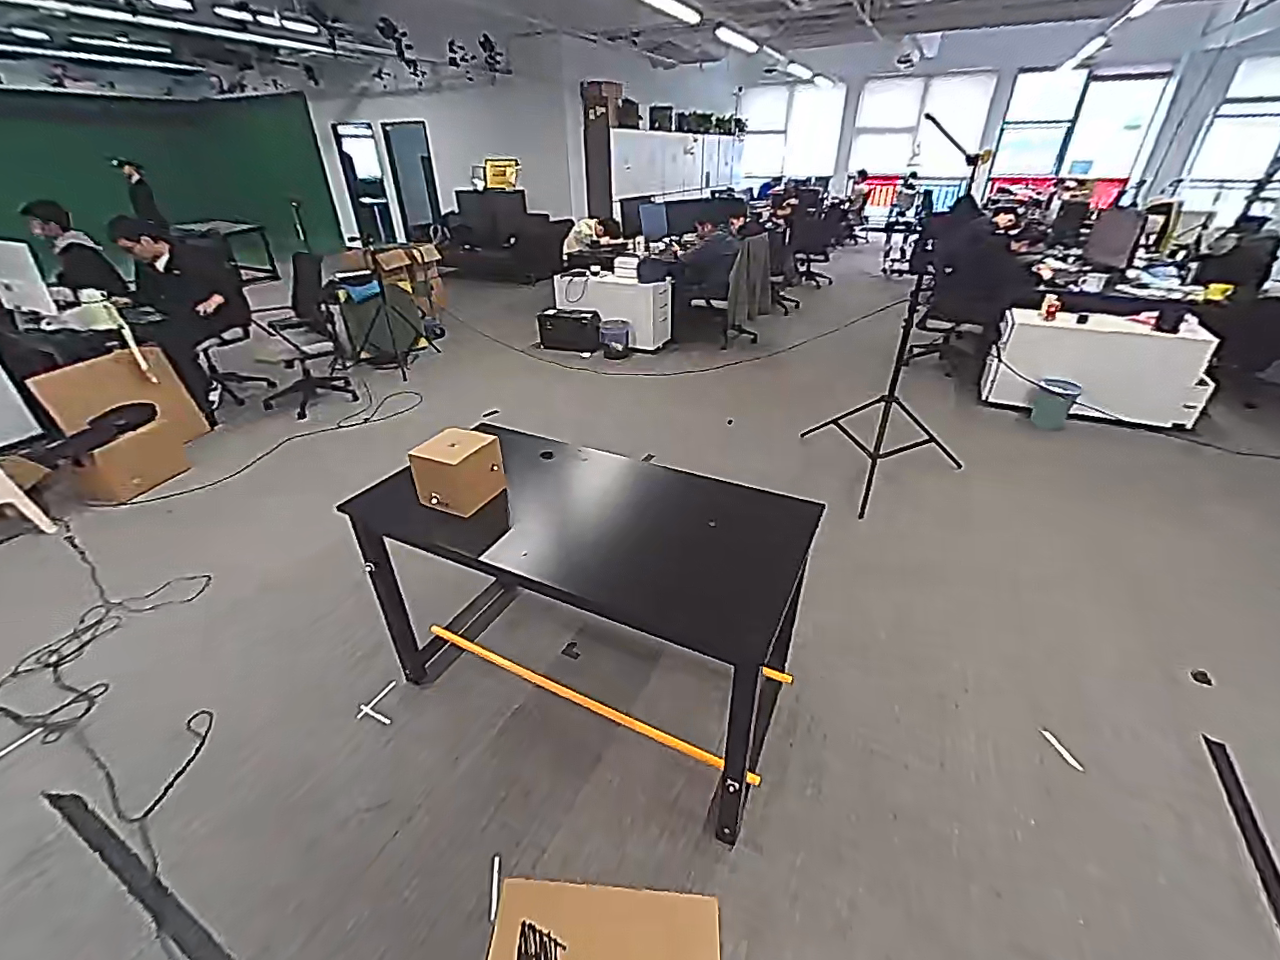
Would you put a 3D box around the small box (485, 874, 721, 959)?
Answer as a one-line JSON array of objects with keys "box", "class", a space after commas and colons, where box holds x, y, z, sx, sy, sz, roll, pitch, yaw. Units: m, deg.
[{"box": [-0.031, 0.438, 0.419, 0.179, 0.176, 0.168, 4, 37, 1], "class": "small box"}]

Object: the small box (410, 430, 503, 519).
[{"box": [-0.496, -0.018, 1.495, 0.168, 0.176, 0.179, 12, 34, 21], "class": "small box"}]
